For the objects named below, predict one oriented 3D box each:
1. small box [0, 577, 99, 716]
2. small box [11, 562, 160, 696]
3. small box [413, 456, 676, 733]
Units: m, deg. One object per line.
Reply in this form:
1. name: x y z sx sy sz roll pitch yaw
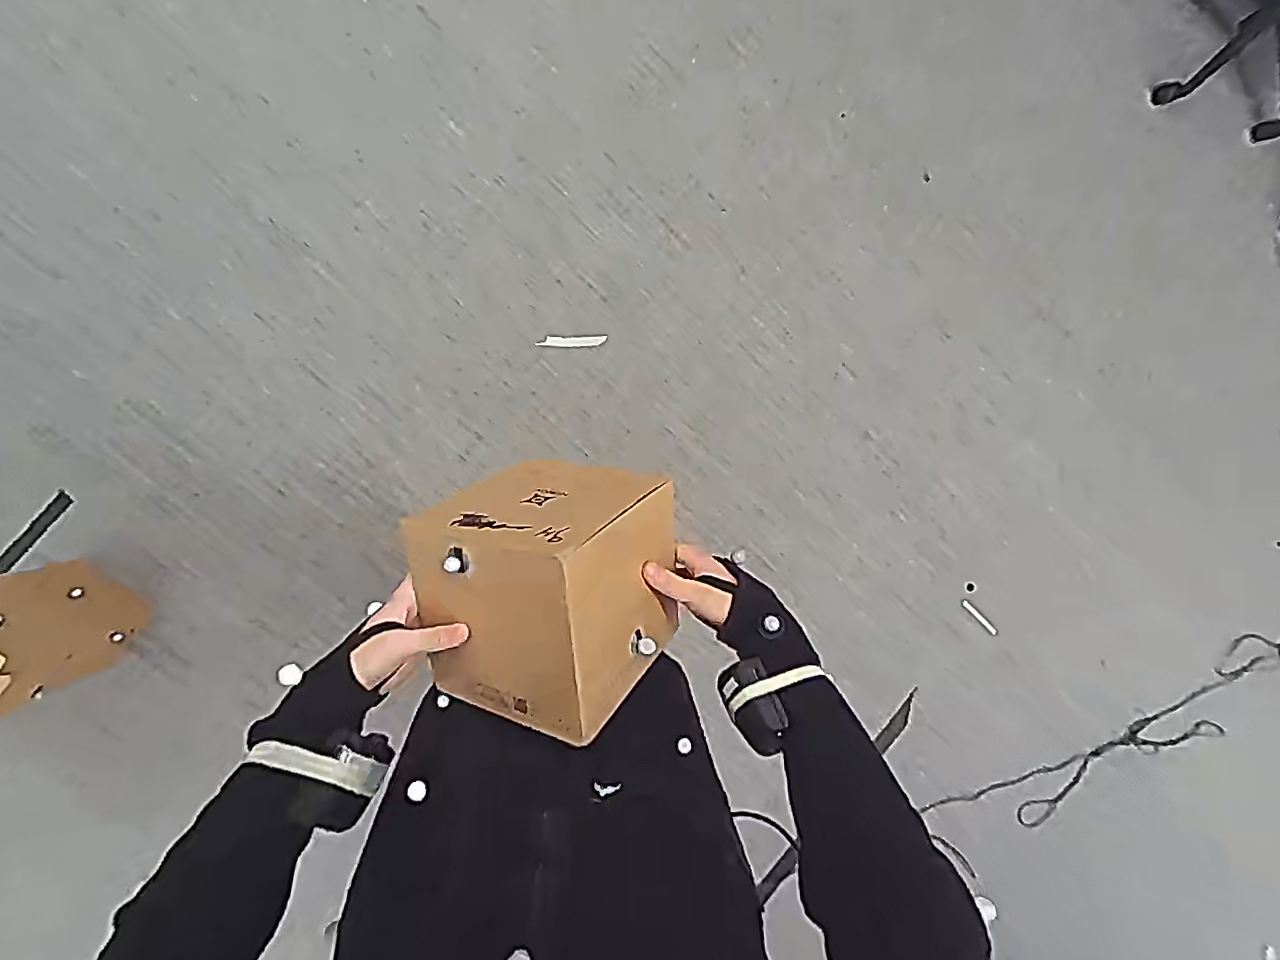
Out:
1. small box: -1.089 0.283 0.900 0.179 0.176 0.168 37 86 -9
2. small box: -1.120 0.280 1.062 0.179 0.176 0.168 36 85 -8
3. small box: -0.076 0.088 0.500 0.168 0.179 0.176 8 112 26
